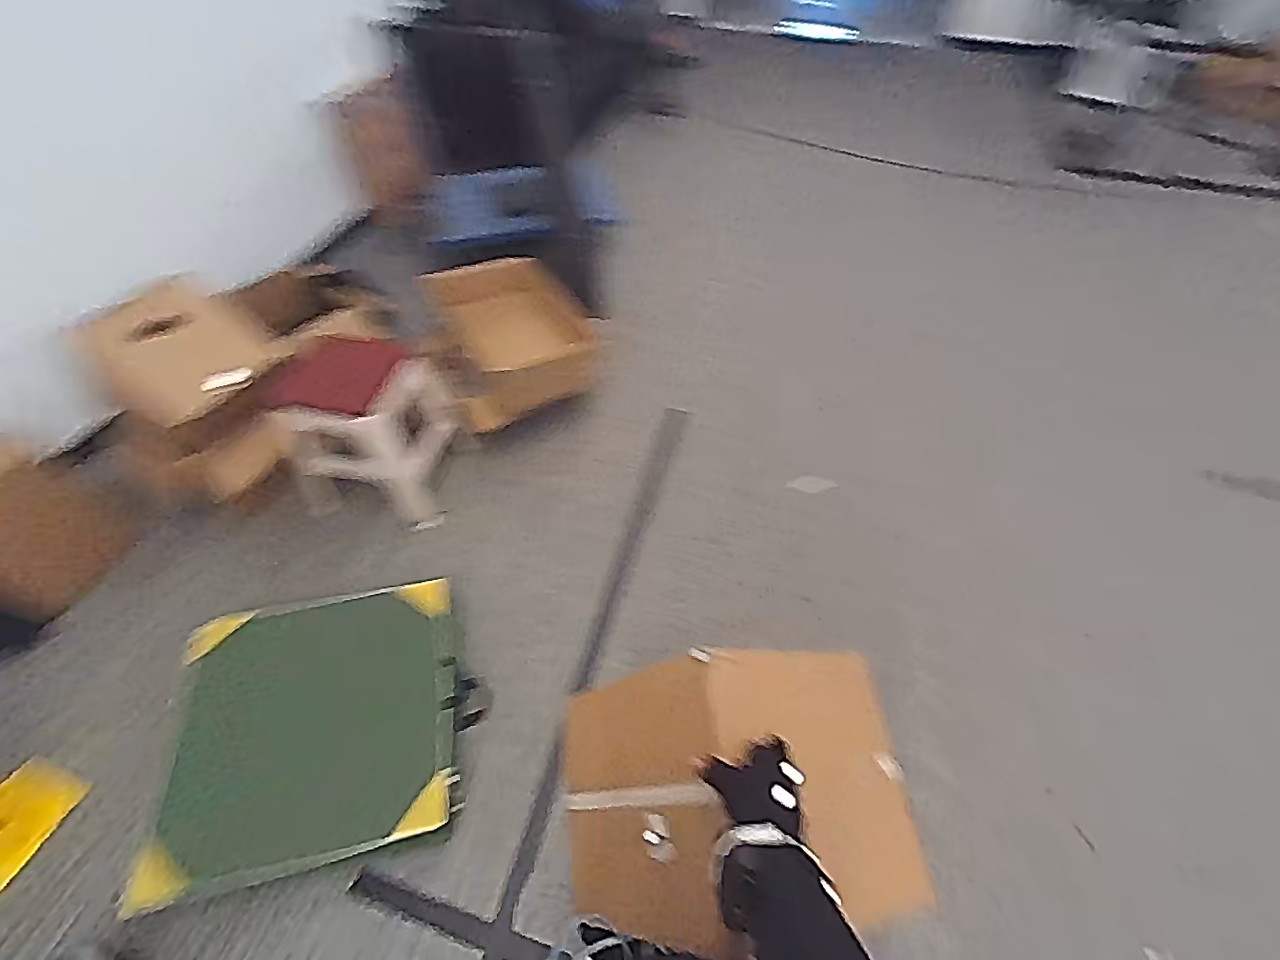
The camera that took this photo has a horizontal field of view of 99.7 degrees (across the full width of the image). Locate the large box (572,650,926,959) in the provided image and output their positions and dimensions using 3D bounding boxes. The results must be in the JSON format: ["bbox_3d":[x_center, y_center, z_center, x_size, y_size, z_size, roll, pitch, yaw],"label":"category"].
[{"bbox_3d":[0.124,0.464,0.821,0.320,0.408,0.320,11,57,-31],"label":"large box"}]
